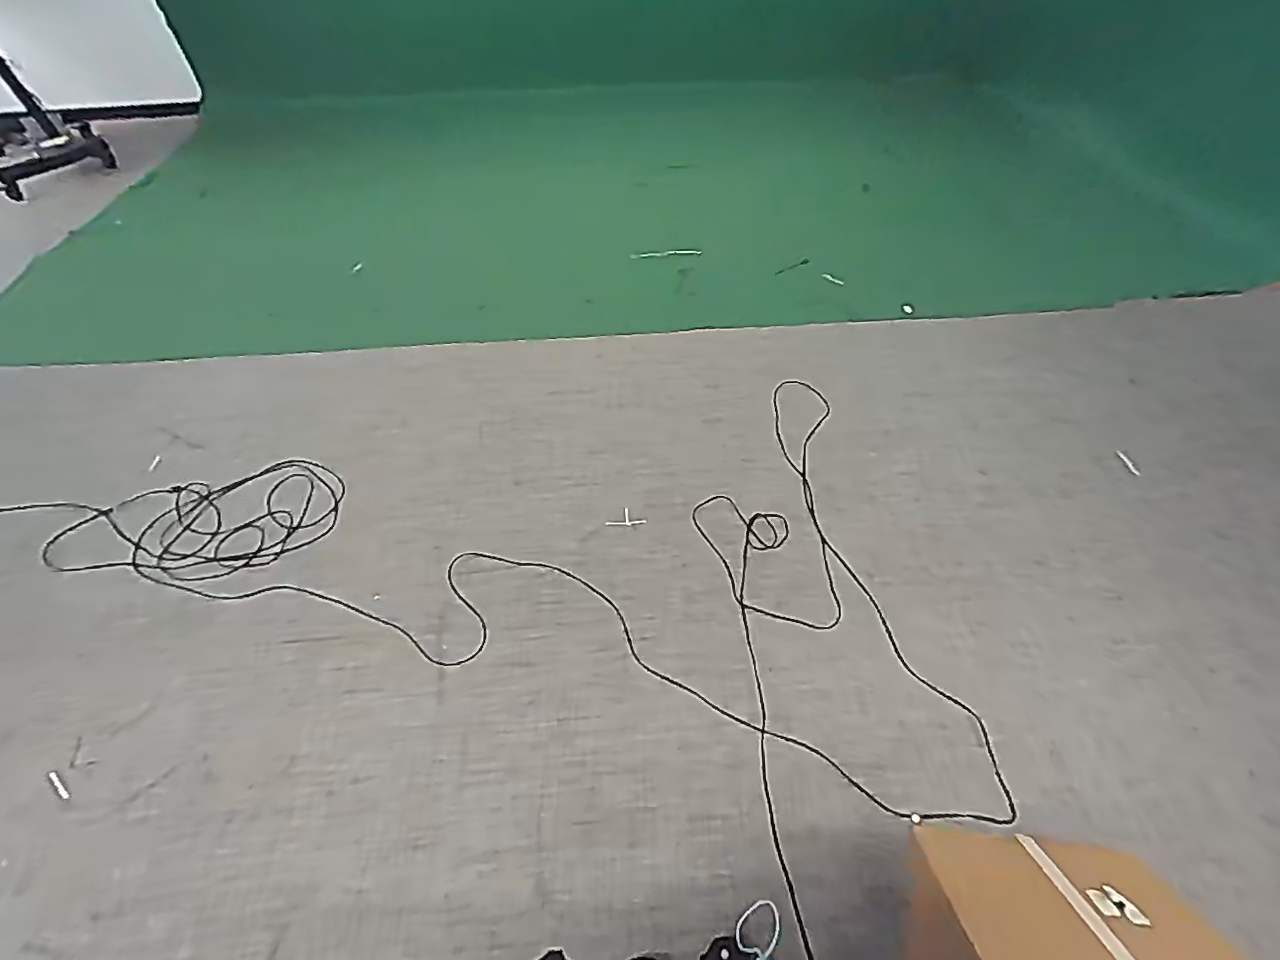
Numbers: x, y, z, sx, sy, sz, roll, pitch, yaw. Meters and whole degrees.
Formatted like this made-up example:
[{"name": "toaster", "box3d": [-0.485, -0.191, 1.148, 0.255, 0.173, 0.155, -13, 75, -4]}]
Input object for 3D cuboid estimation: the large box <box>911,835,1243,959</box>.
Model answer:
[{"name": "large box", "box3d": [0.542, 0.702, 0.622, 0.320, 0.408, 0.320, 2, 89, 9]}]
